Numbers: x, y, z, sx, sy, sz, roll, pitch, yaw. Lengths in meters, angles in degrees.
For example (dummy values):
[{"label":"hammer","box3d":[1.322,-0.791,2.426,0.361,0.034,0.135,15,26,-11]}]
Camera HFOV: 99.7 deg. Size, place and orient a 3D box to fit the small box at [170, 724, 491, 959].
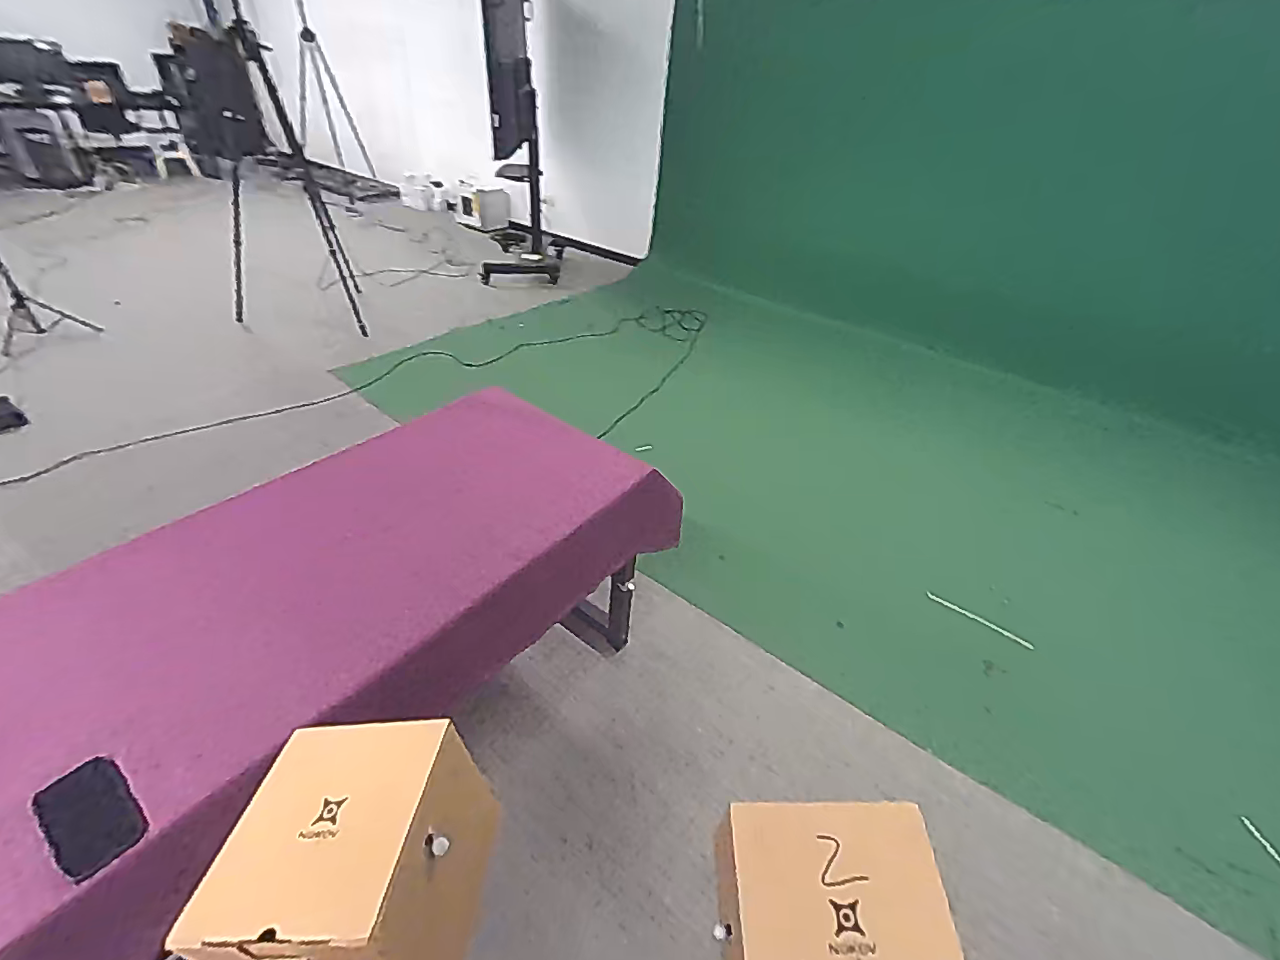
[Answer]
[{"label":"small box","box3d":[-0.252,0.356,0.500,0.168,0.176,0.179,-6,32,6]}]
